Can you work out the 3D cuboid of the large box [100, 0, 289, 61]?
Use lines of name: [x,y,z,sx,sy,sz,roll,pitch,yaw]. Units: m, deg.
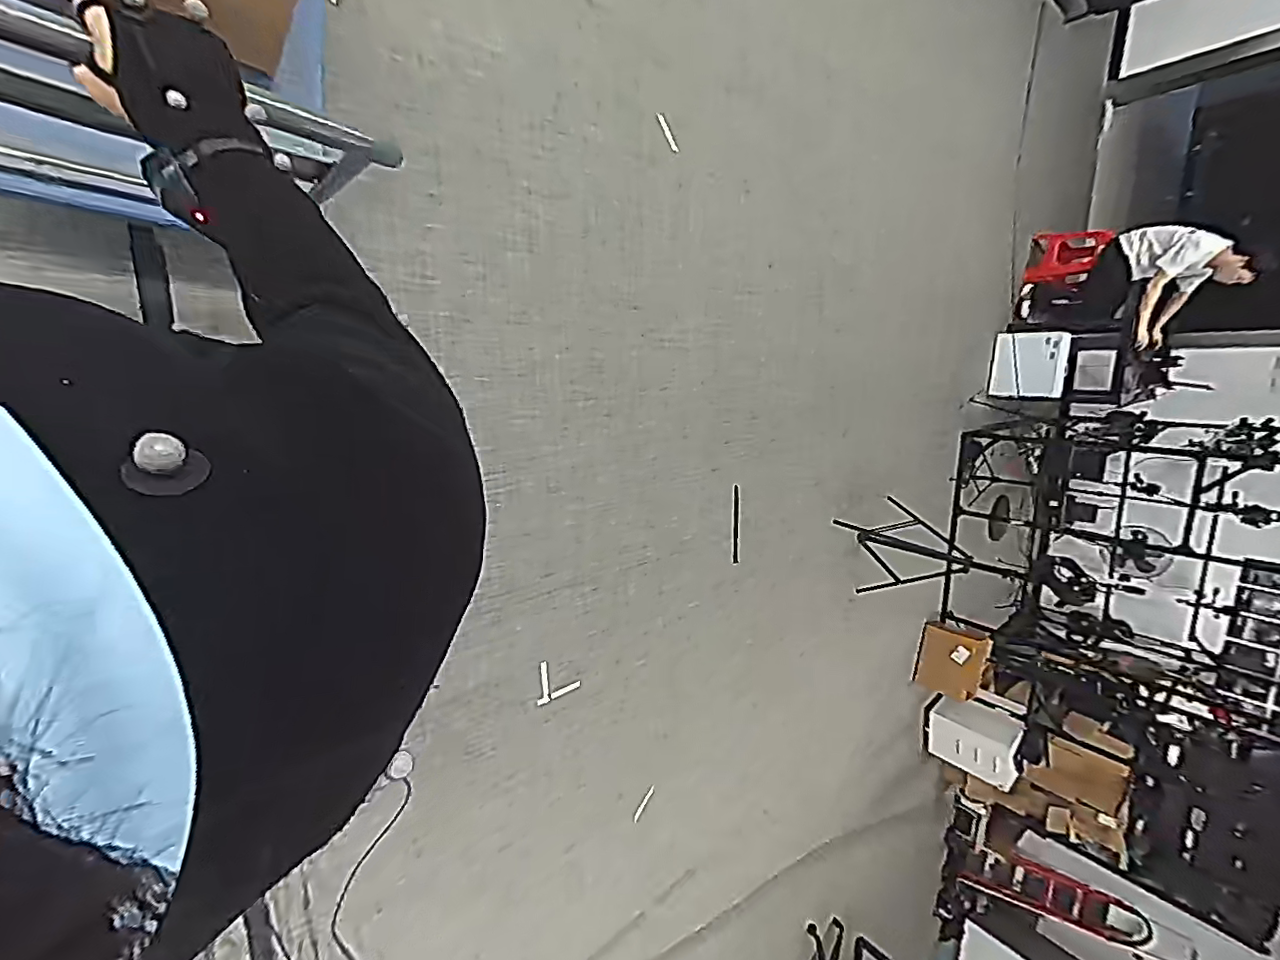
large box: [-0.746,-0.903,0.763,0.408,0.320,0.320,-2,99,-40]
